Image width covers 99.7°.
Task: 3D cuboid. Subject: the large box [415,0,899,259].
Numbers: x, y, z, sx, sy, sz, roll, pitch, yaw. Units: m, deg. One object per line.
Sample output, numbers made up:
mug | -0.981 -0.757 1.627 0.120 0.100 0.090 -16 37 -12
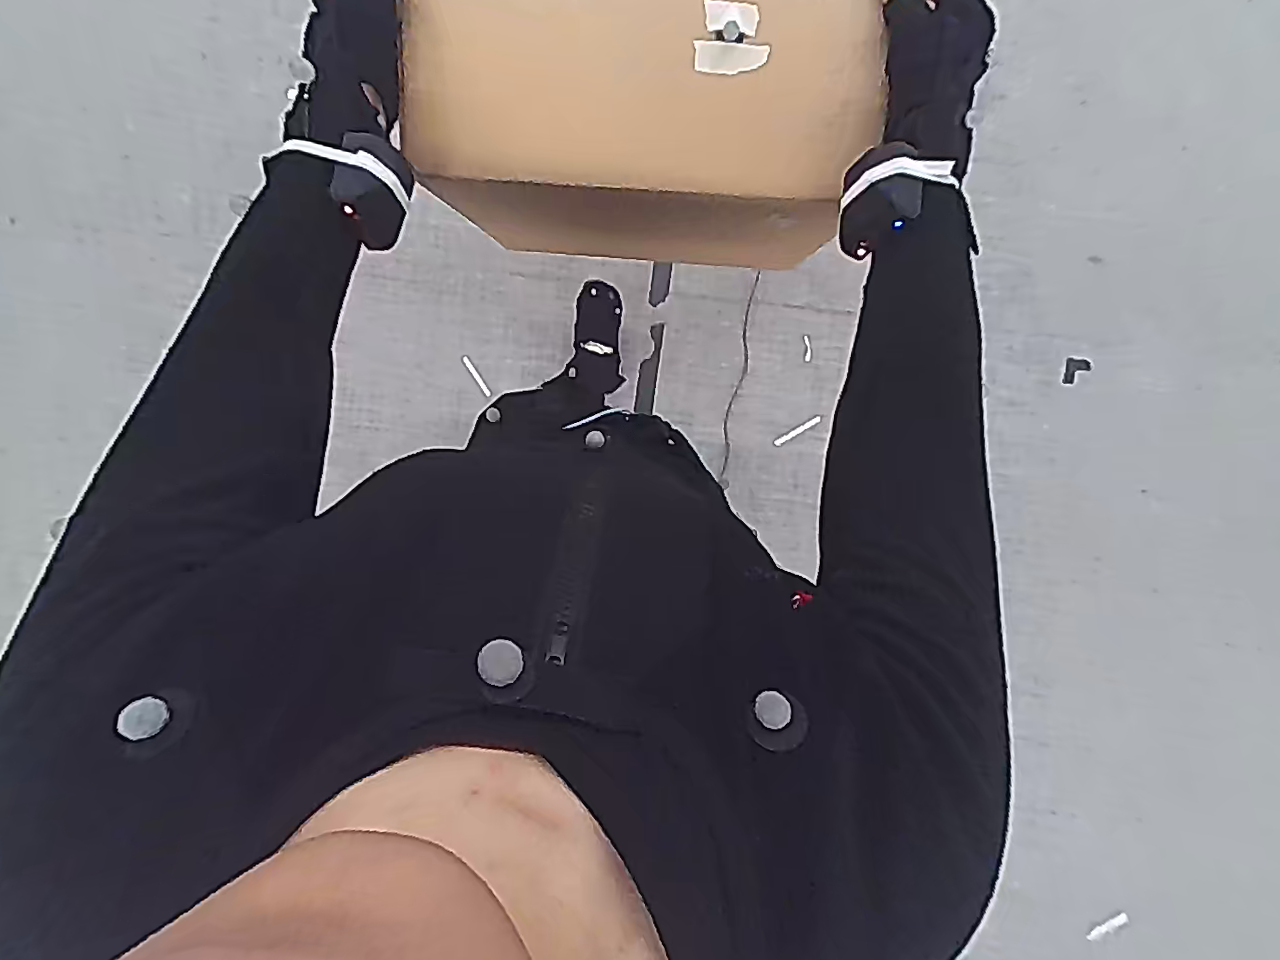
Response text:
large box | 0.016 -0.438 0.584 0.408 0.320 0.320 4 102 1
